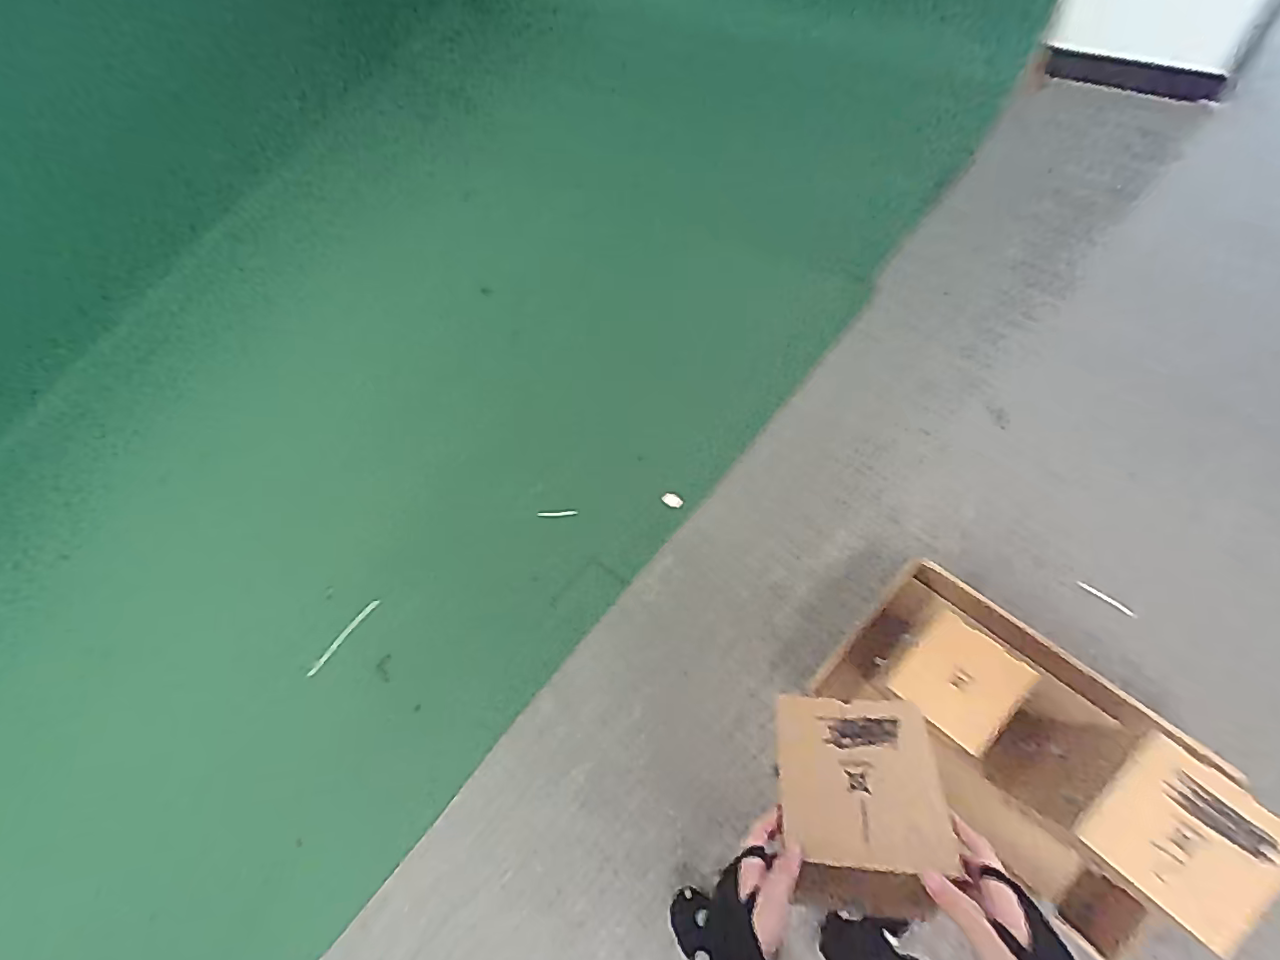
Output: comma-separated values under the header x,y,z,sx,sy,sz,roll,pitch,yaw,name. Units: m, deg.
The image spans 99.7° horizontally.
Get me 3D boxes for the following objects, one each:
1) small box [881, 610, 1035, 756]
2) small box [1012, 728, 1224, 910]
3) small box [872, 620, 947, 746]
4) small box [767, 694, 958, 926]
x,y,z,sx,sy,sz,roll,pitch,yaw,name
0.562,0.368,0.984,0.168,0.176,0.179,39,84,27,small box
0.741,0.521,0.864,0.168,0.176,0.179,40,85,29,small box
0.606,0.421,1.130,0.168,0.176,0.179,40,85,26,small box
0.234,0.374,0.623,0.168,0.176,0.179,-1,40,11,small box
